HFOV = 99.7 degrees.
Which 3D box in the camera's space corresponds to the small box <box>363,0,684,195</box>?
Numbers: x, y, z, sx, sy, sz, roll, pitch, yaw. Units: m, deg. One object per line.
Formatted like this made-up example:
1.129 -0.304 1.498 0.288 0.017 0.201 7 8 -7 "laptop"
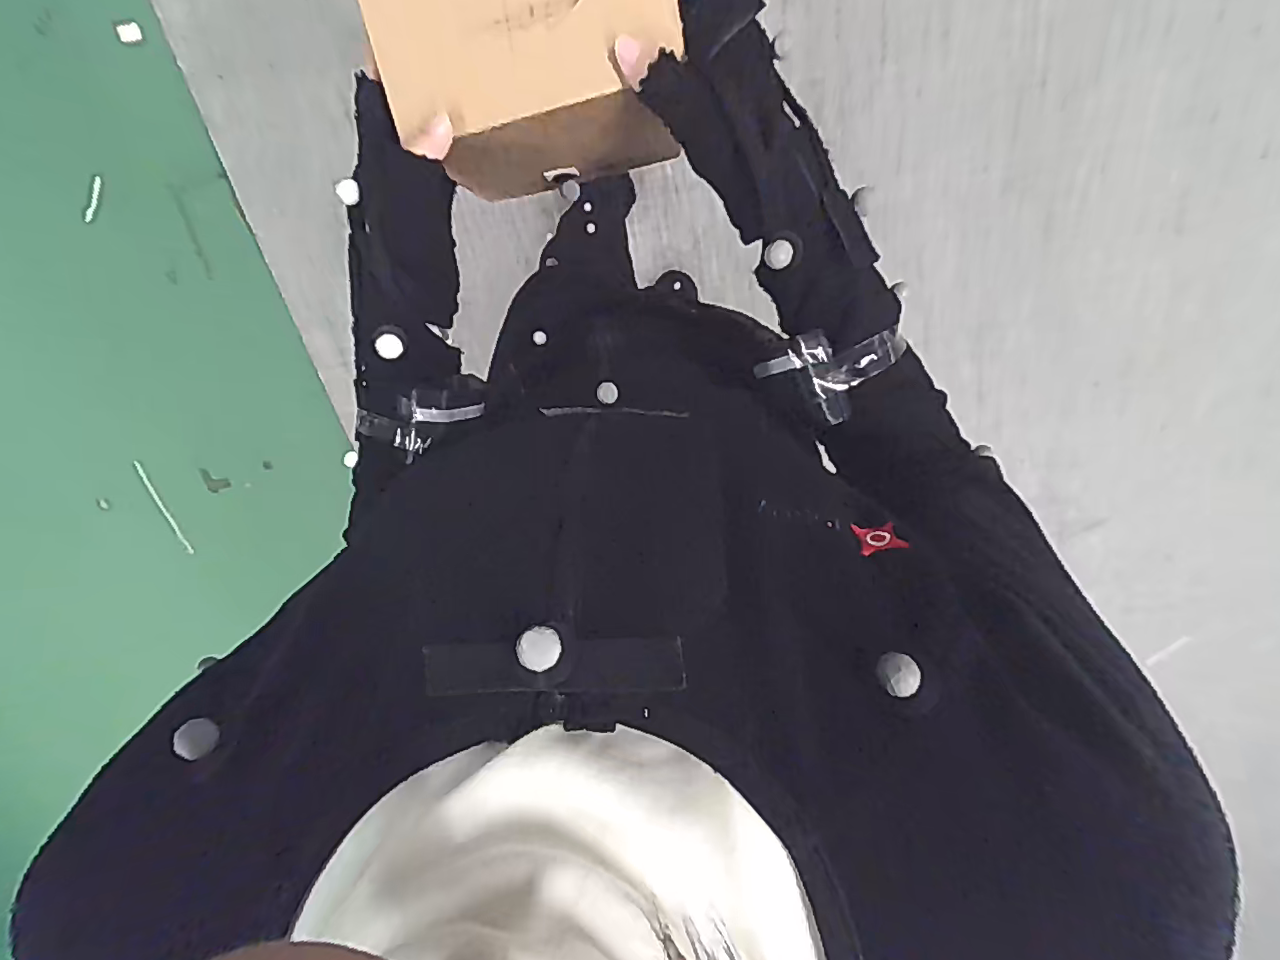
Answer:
-0.069 -0.313 0.352 0.168 0.176 0.179 -11 106 7 "small box"
